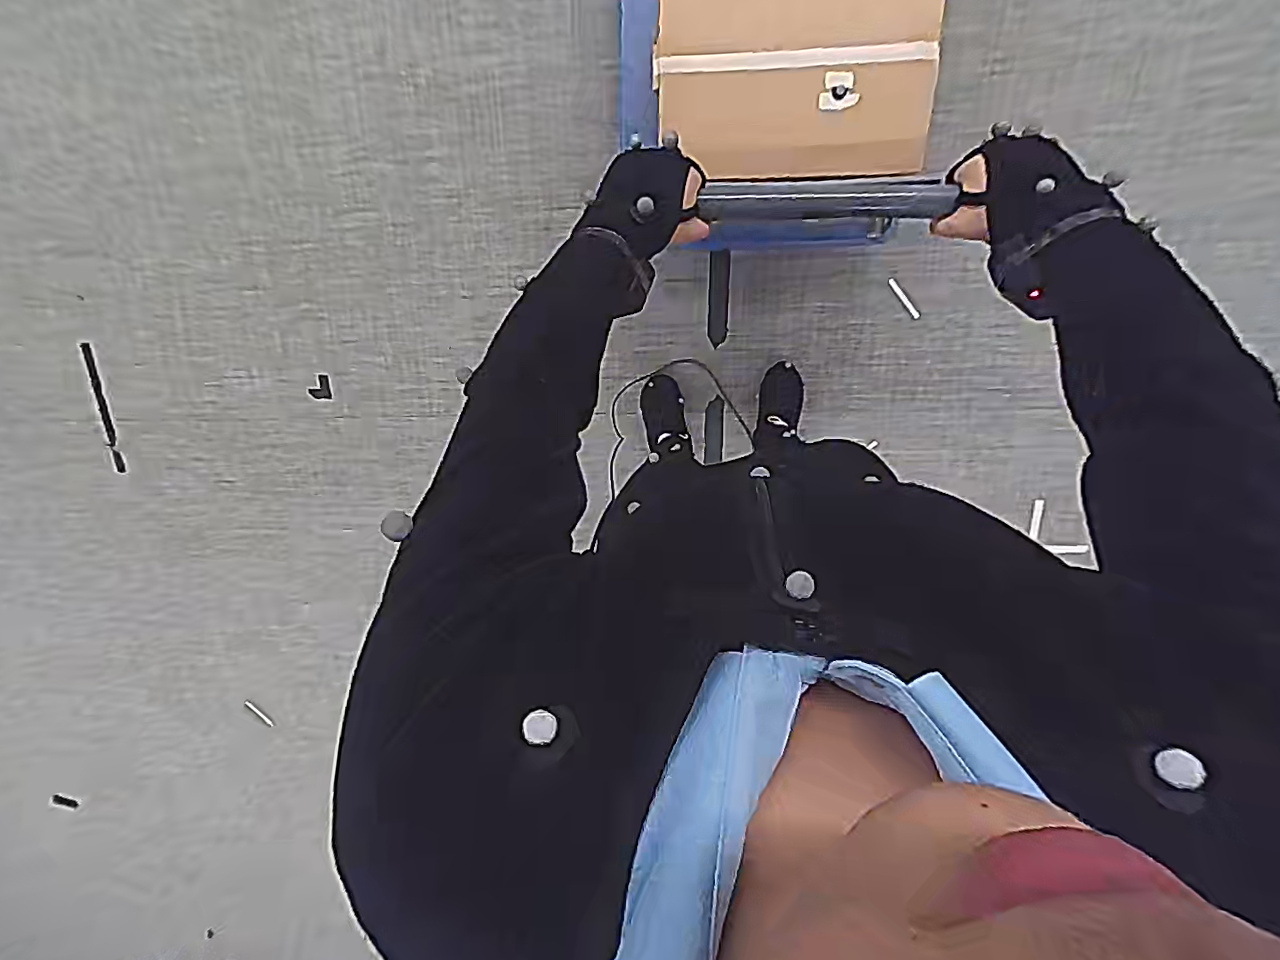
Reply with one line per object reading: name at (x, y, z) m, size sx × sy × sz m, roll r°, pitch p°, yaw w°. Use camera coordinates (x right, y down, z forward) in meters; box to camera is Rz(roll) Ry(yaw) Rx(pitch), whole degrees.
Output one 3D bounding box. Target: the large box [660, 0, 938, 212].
large box at (0.244, -0.674, 0.953) m, size 0.408 × 0.320 × 0.320 m, roll 1°, pitch 109°, yaw 5°
